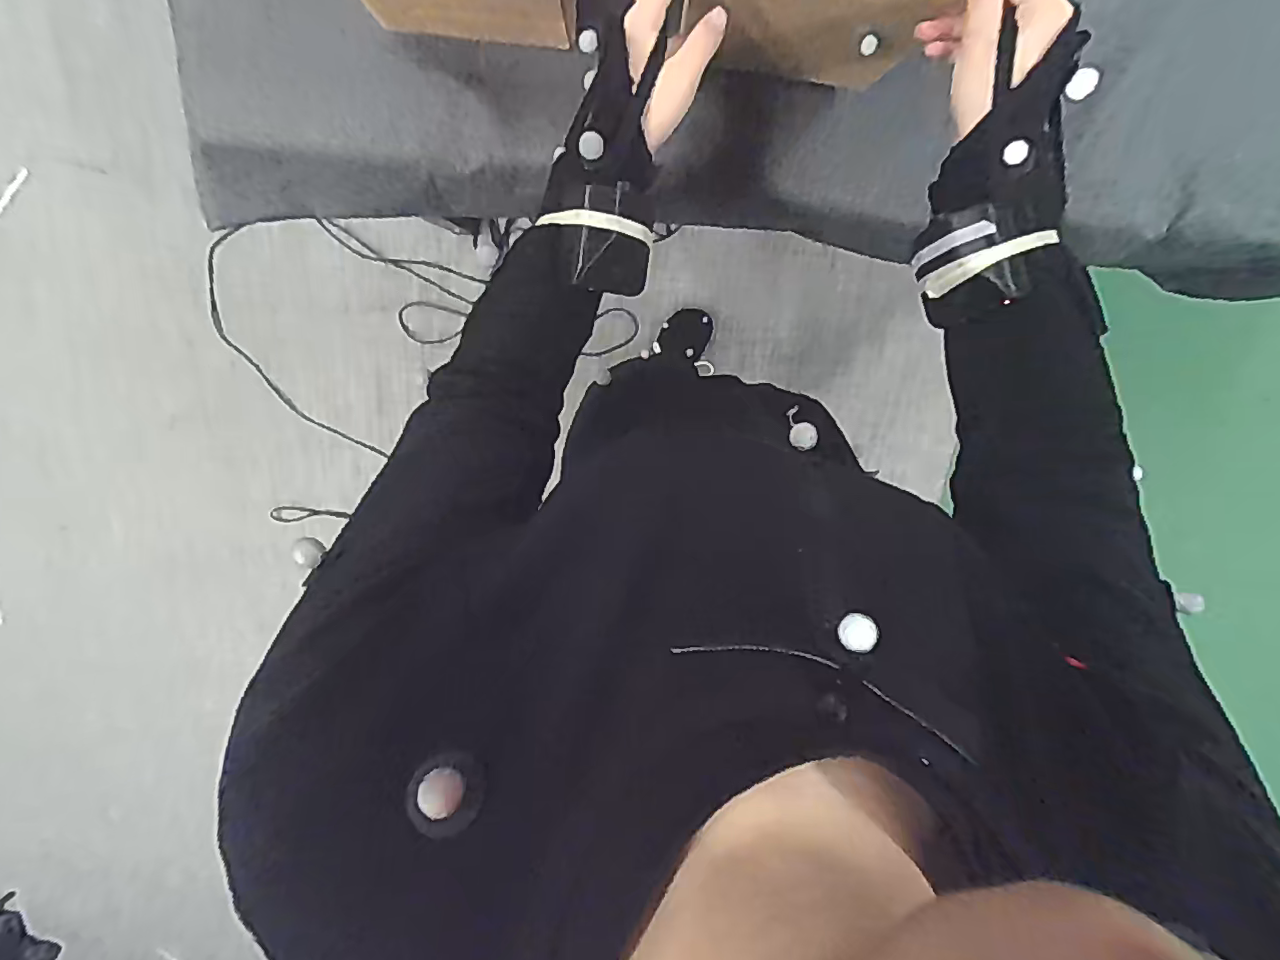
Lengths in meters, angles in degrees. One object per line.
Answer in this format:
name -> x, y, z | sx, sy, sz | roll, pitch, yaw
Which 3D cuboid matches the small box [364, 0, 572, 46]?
small box -> -0.143, -0.457, 0.396 | 0.179, 0.176, 0.168 | 3, 106, -3
